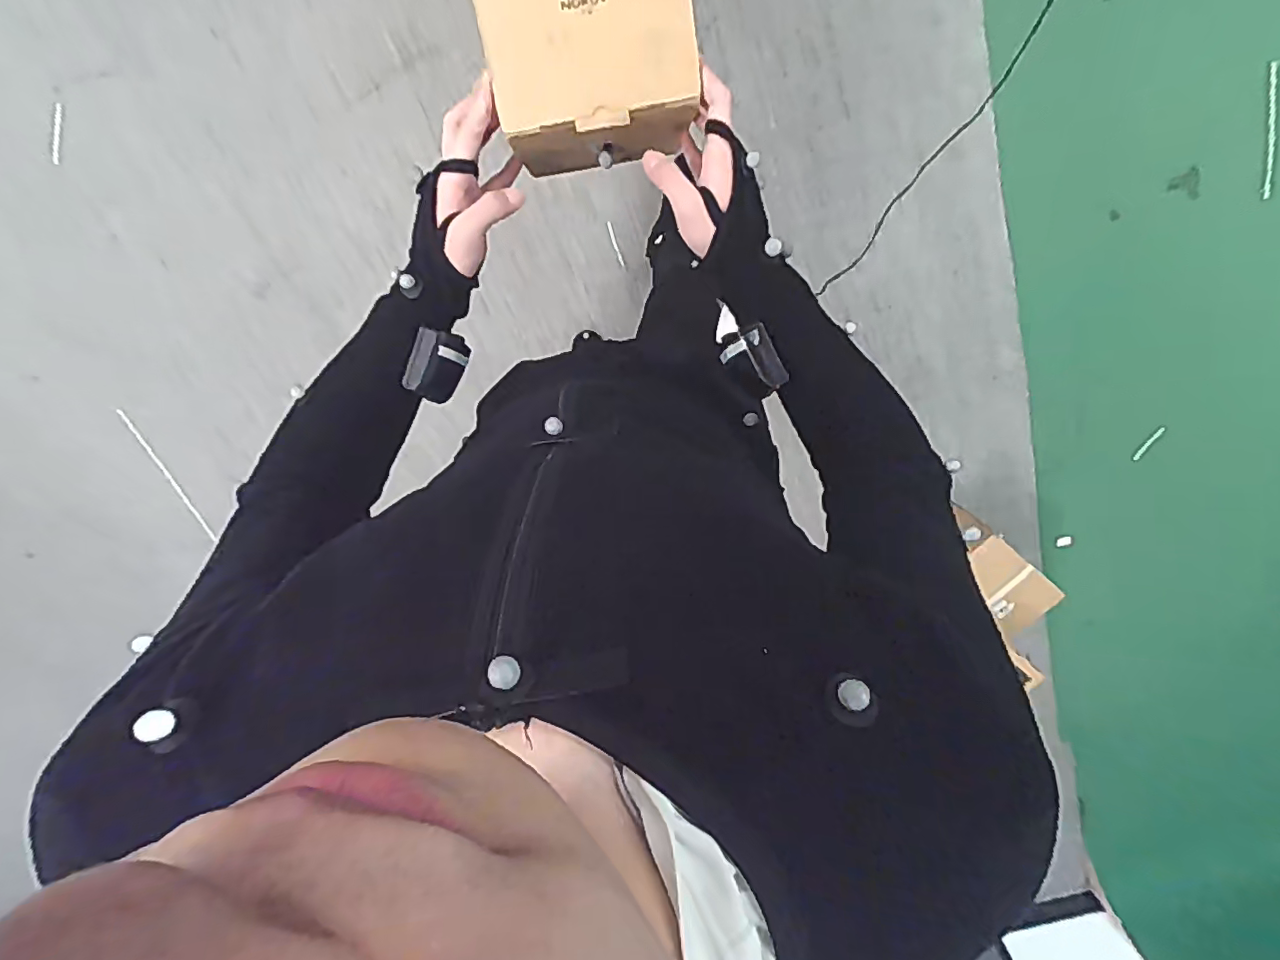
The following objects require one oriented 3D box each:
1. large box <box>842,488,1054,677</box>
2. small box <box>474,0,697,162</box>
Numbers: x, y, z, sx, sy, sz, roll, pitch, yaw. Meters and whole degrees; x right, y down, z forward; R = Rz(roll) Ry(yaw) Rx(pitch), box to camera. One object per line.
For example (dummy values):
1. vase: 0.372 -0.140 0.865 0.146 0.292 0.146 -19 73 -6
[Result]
1. large box: 0.911 0.304 1.658 0.320 0.320 0.408 36 105 -14
2. small box: -0.048 -0.401 0.482 0.168 0.176 0.179 -10 110 0
